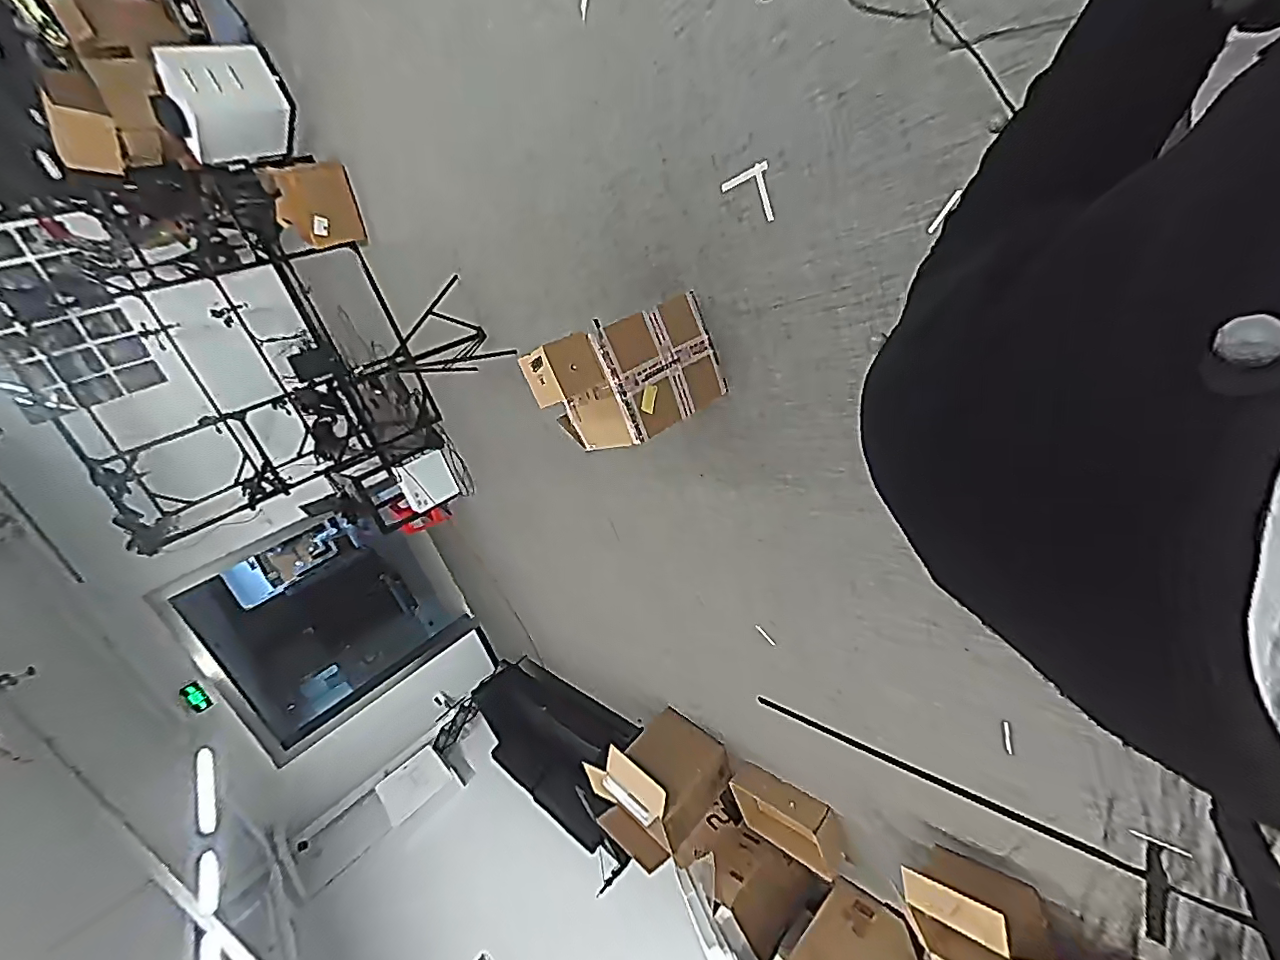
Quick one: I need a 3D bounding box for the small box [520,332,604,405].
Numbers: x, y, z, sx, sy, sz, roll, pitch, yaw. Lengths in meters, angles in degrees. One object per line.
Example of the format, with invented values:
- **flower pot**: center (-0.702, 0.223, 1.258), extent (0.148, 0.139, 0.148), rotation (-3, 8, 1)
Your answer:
- **small box**: center (-0.248, -0.361, 1.734), extent (0.168, 0.176, 0.179), rotation (-7, 112, 51)
